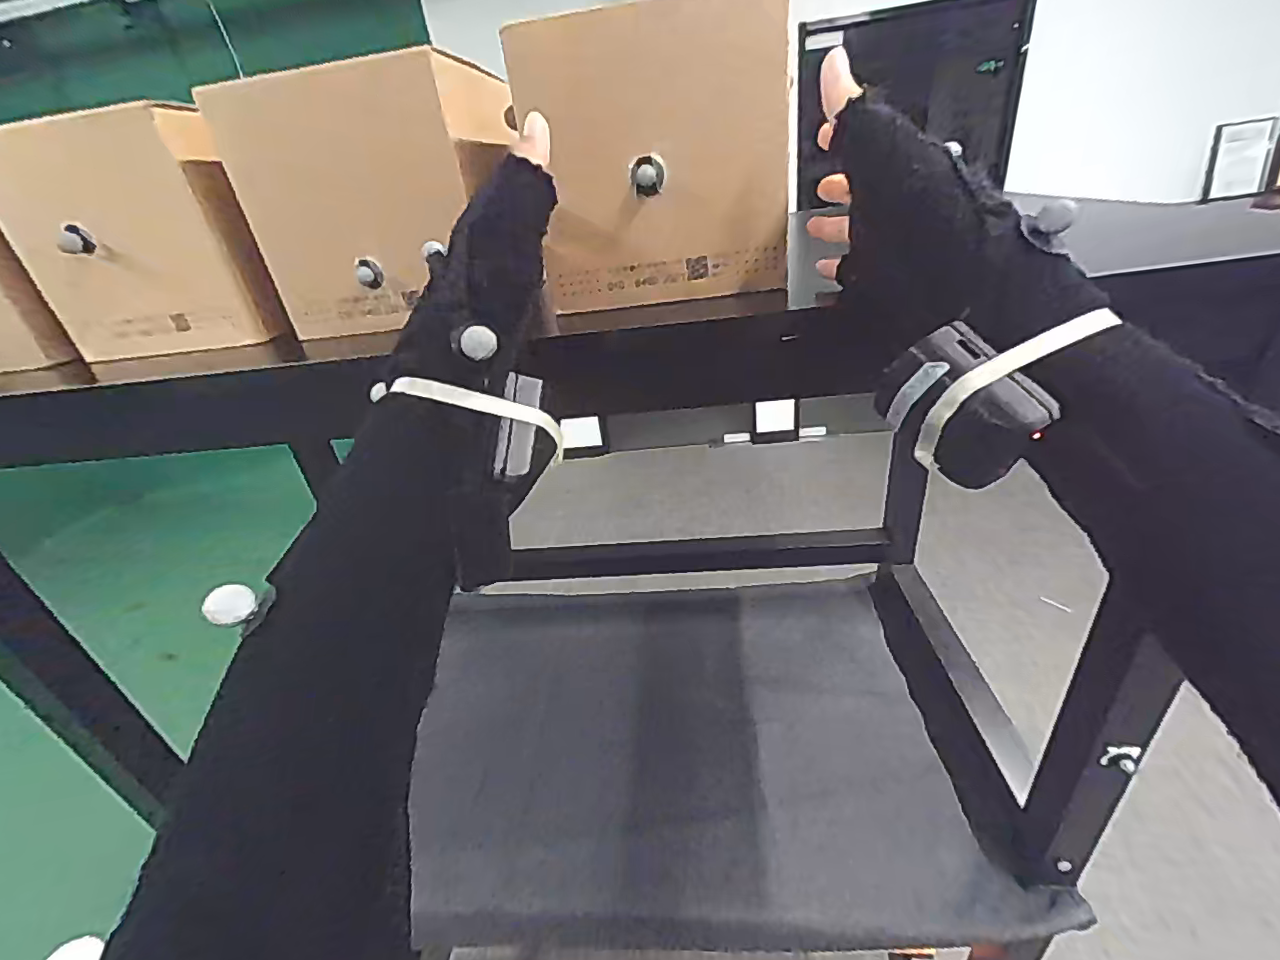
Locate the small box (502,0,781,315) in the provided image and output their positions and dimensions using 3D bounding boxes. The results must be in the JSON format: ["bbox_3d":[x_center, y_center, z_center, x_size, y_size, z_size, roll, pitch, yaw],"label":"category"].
[{"bbox_3d":[0.014,-0.230,0.417,0.168,0.176,0.179,-4,29,6],"label":"small box"}]

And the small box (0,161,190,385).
[{"bbox_3d":[-0.584,-0.194,0.511,0.168,0.176,0.179,-5,30,6],"label":"small box"}]
